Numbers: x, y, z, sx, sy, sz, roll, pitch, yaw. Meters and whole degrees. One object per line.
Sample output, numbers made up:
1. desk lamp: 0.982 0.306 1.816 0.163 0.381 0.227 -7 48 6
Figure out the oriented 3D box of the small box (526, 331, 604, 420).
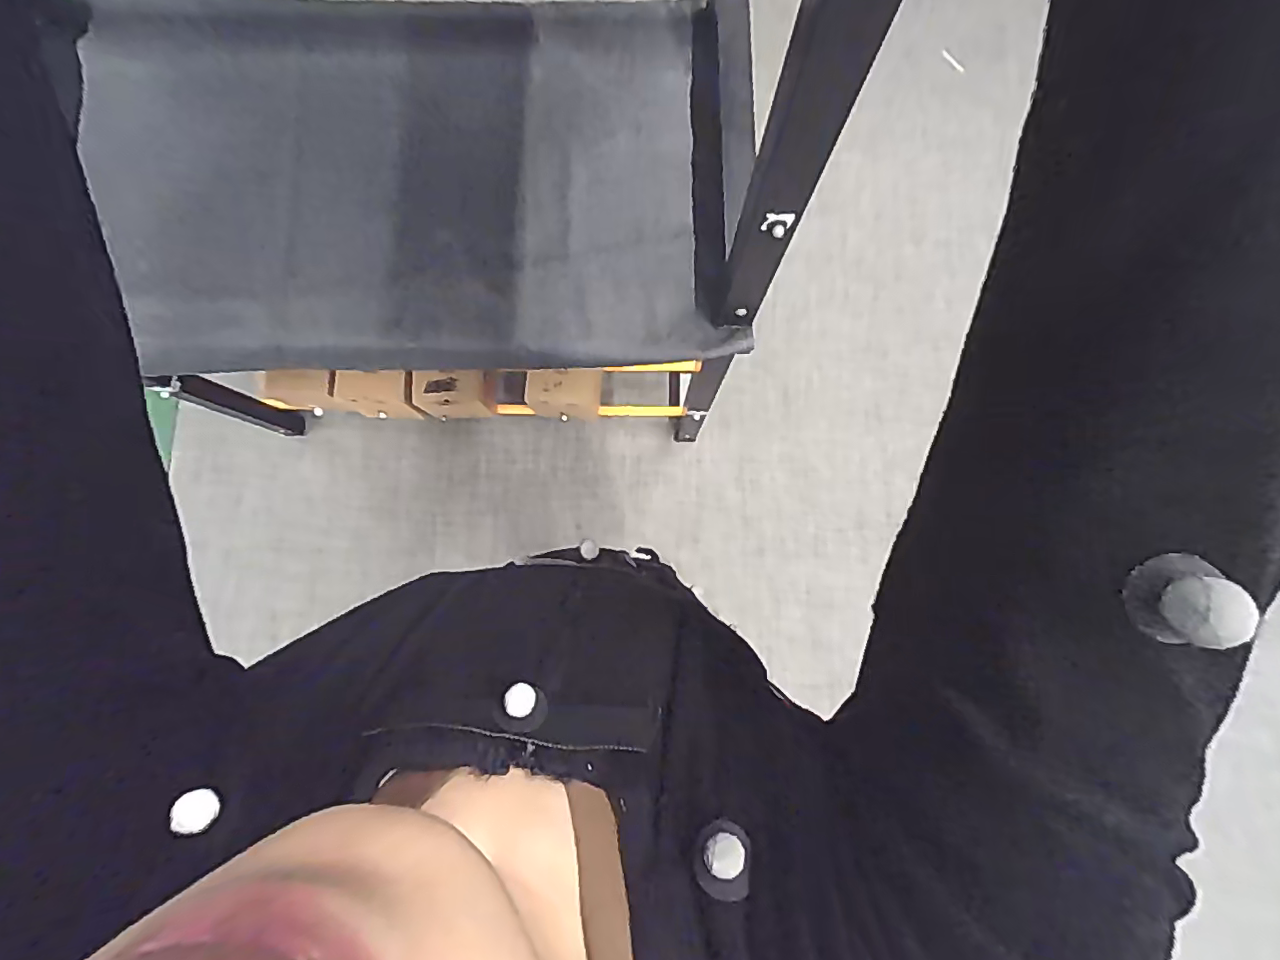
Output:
1. small box: -0.186 -0.263 1.389 0.168 0.176 0.179 5 84 1
